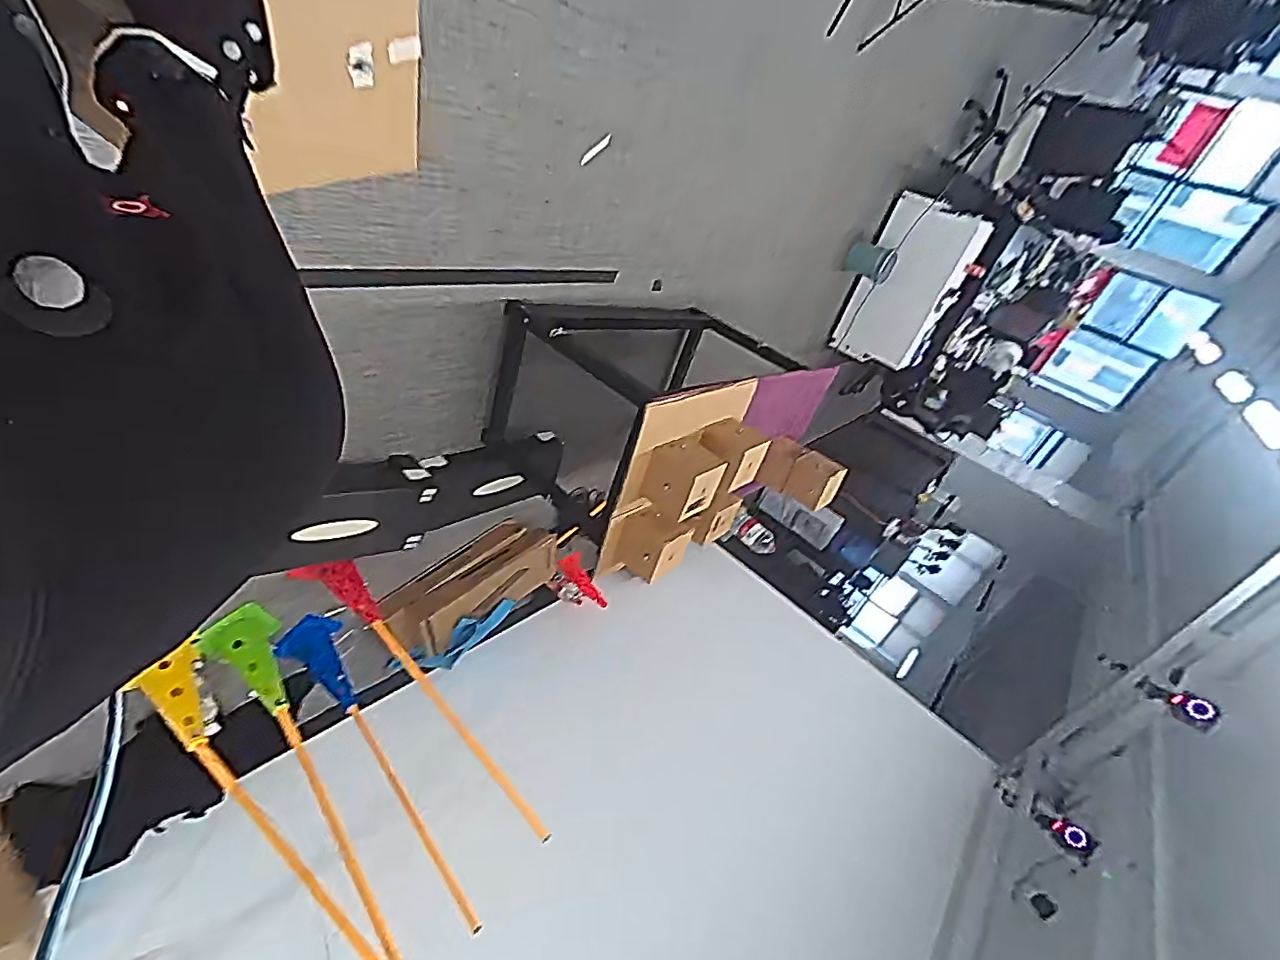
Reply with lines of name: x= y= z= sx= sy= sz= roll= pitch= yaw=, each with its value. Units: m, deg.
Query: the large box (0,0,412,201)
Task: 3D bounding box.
large box: x=-0.532 y=-0.591 z=0.622 sx=0.320 sy=0.408 sz=0.320 roll=-46 pitch=166 yaw=-41
